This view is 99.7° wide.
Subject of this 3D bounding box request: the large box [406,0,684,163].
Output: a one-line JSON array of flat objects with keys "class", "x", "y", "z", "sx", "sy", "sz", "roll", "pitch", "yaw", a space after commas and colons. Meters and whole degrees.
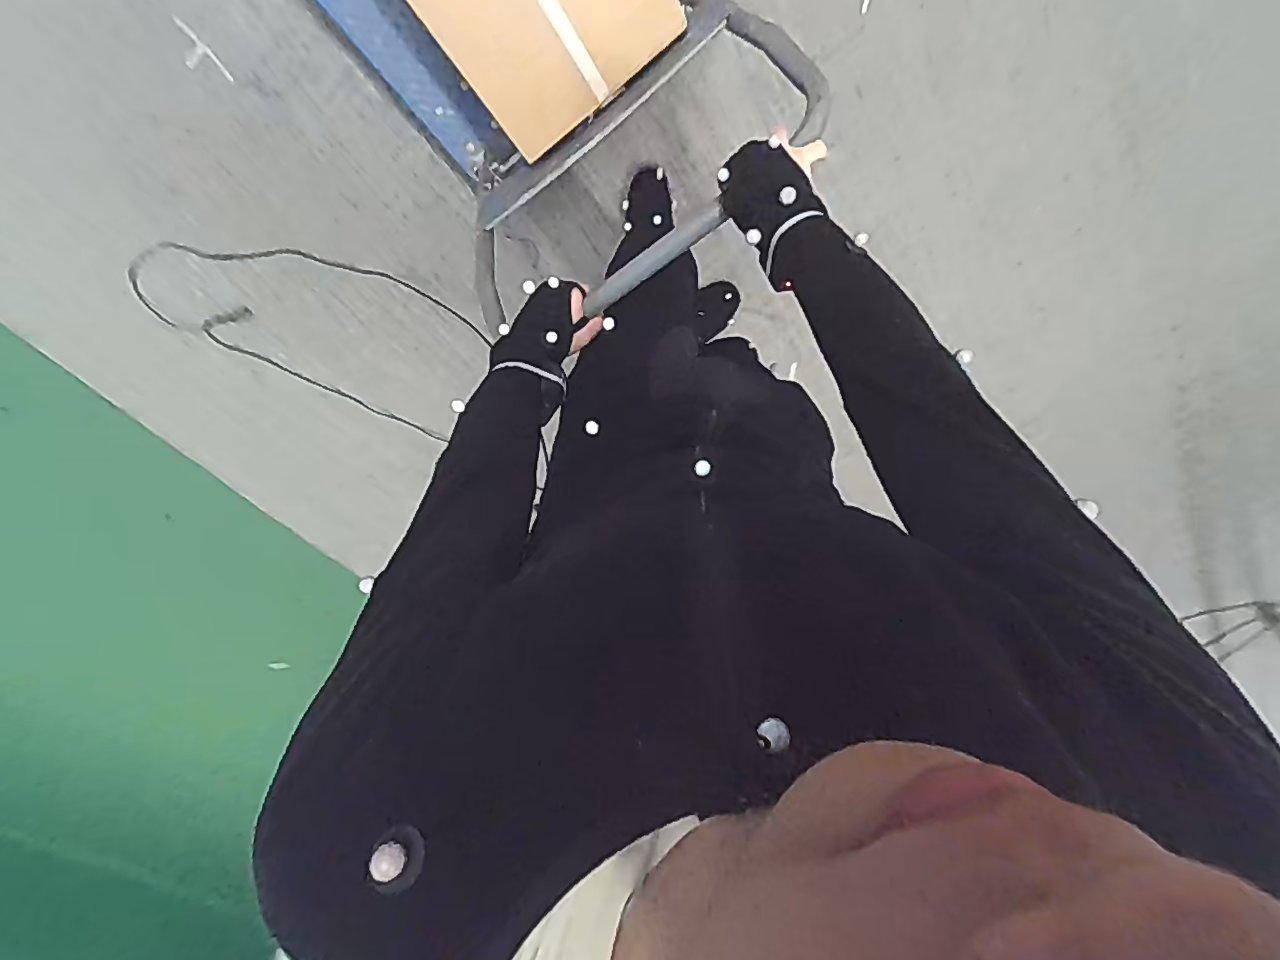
[{"class": "large box", "x": -0.182, "y": -0.812, "z": 0.846, "sx": 0.320, "sy": 0.320, "sz": 0.408, "roll": -31, "pitch": 132, "yaw": 18}]
